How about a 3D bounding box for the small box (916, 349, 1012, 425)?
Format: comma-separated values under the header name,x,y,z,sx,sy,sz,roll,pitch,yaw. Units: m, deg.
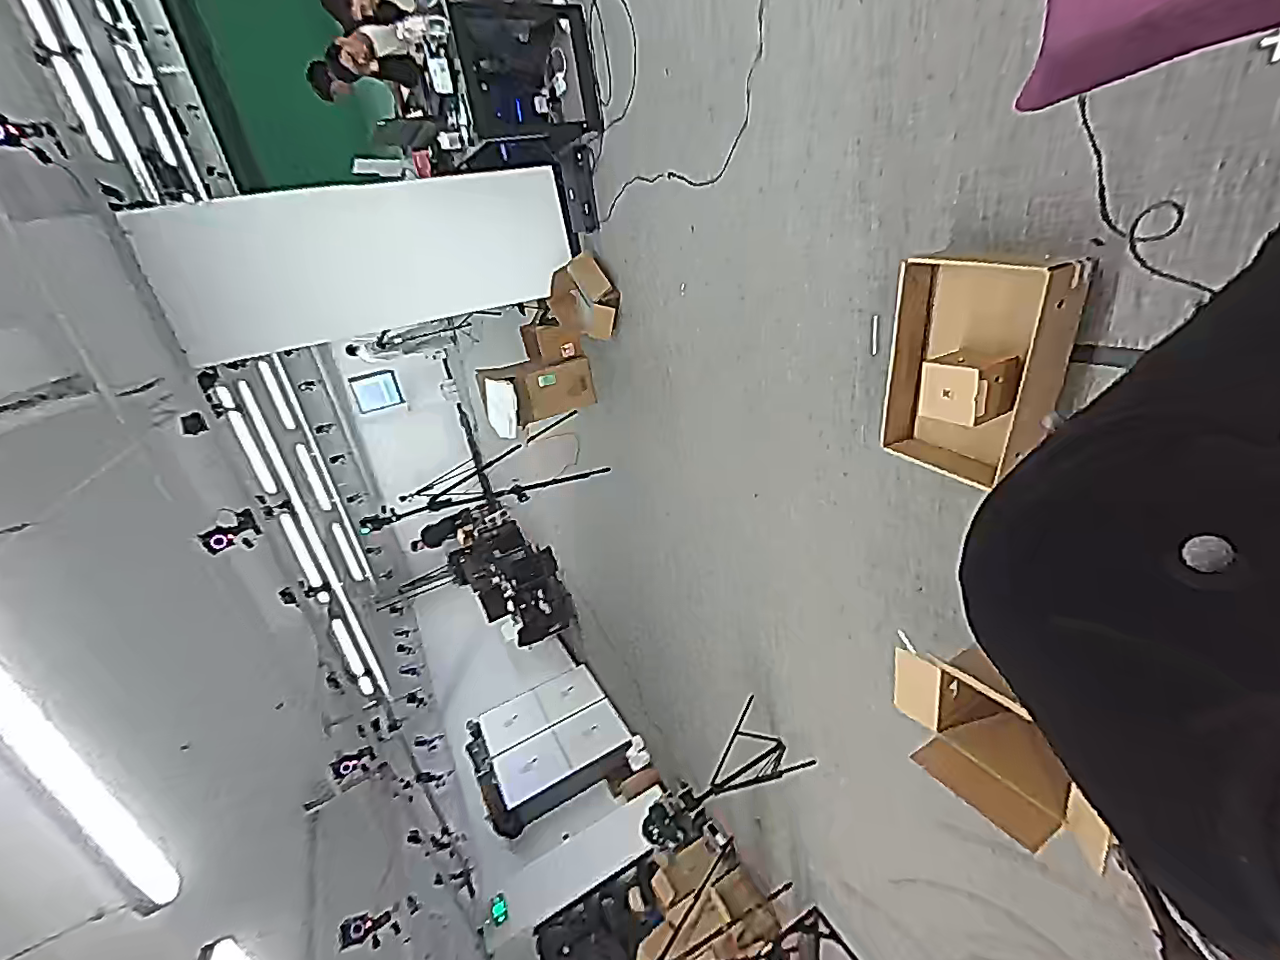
name,x,y,z,sx,sy,sz,roll,pitch,yaw
small box,0.936,-0.275,1.565,0.179,0.176,0.168,33,136,56
